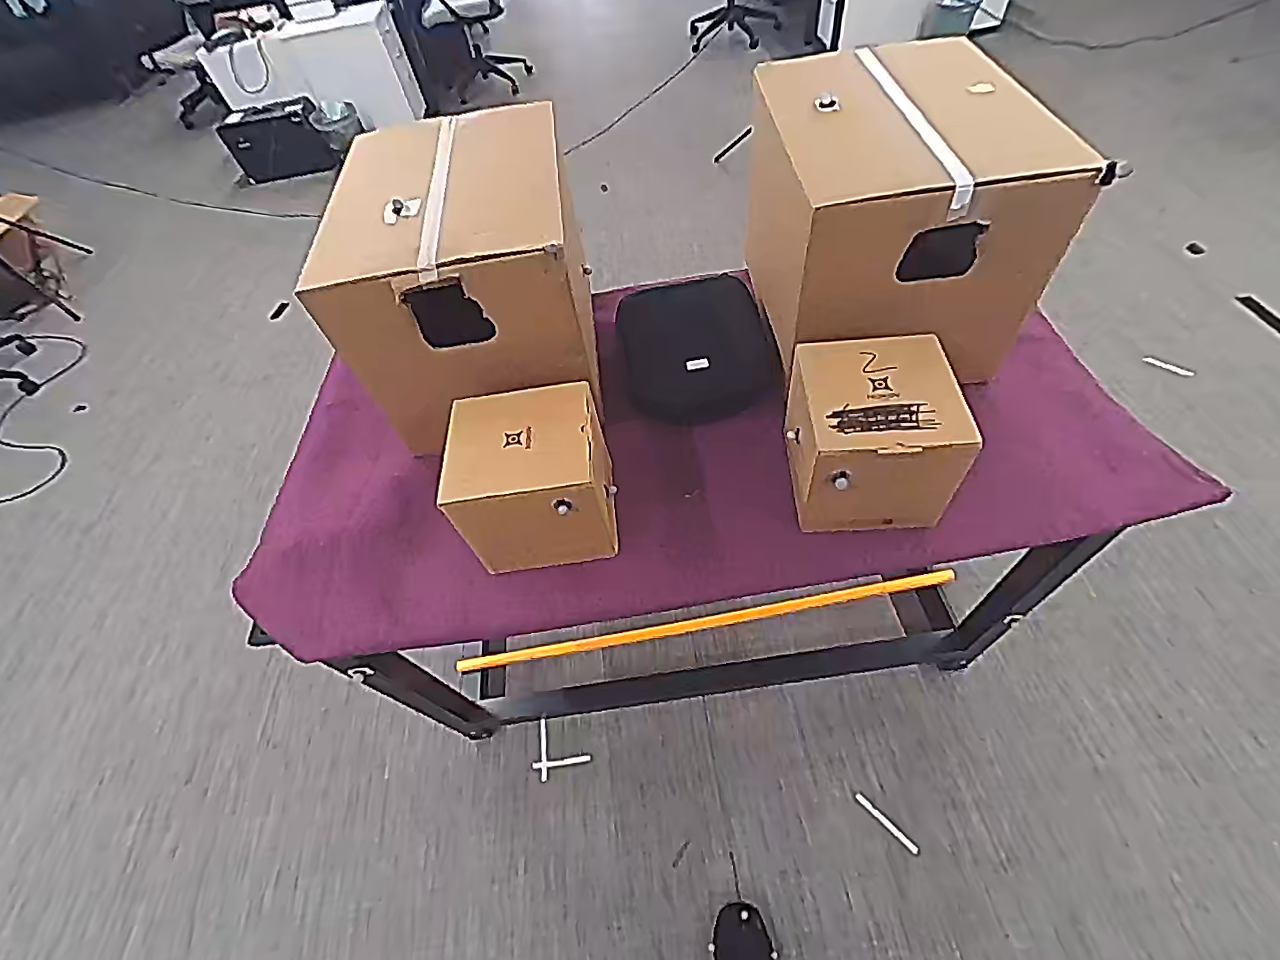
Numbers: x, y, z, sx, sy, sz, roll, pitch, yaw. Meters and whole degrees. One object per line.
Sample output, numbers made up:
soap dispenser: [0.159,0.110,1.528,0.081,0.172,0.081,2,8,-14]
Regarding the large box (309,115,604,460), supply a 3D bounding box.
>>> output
large box: [-0.246,-0.297,0.849,0.320,0.320,0.408,-11,56,1]
